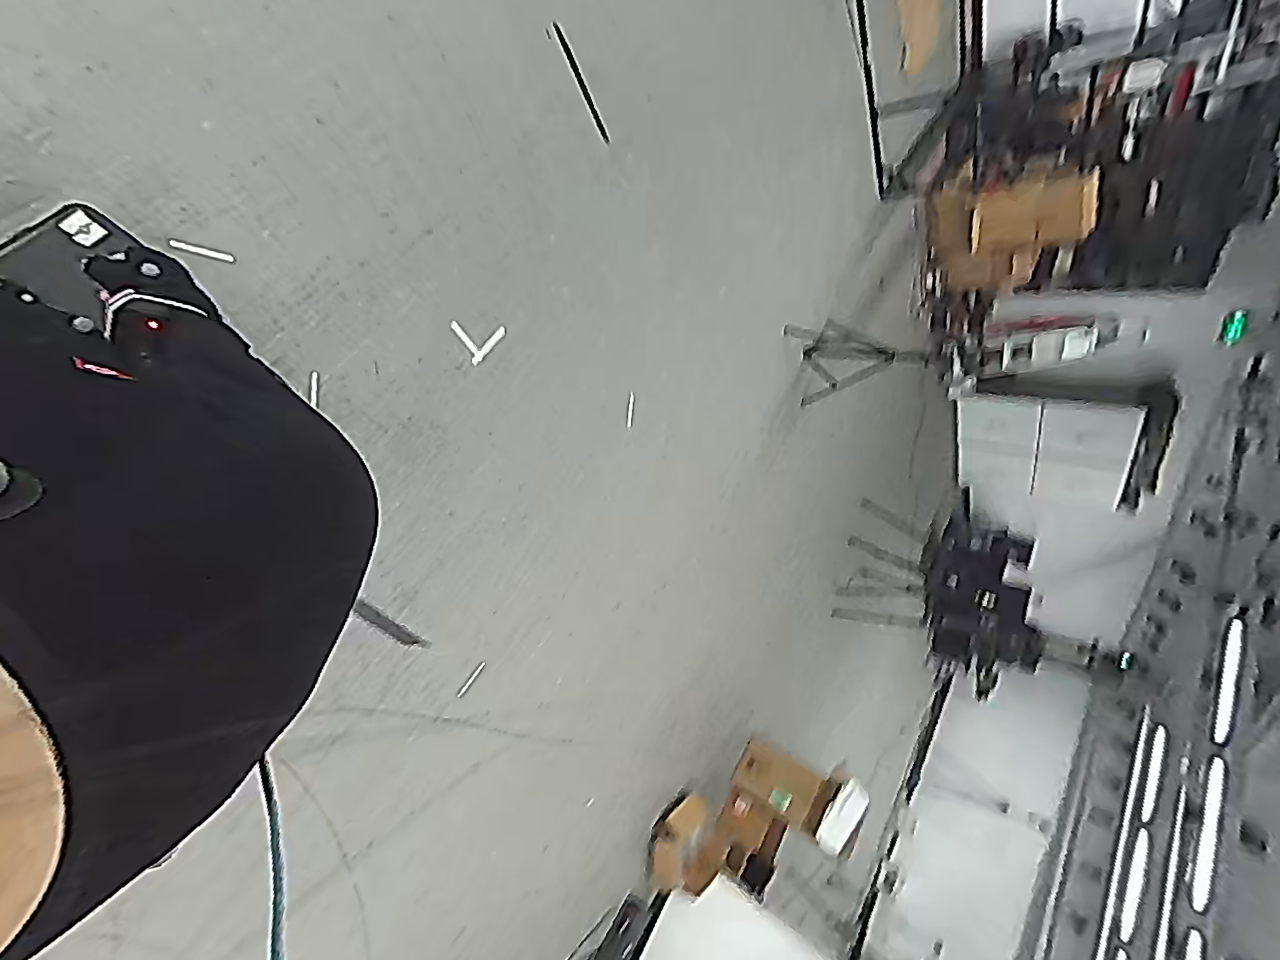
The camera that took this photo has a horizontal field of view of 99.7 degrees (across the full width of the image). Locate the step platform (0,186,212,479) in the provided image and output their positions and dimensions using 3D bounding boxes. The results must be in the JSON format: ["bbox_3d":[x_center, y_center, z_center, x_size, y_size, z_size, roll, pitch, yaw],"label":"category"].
[{"bbox_3d":[-1.207,-0.250,1.032,0.684,0.204,0.286,-57,137,-22],"label":"step platform"}]
